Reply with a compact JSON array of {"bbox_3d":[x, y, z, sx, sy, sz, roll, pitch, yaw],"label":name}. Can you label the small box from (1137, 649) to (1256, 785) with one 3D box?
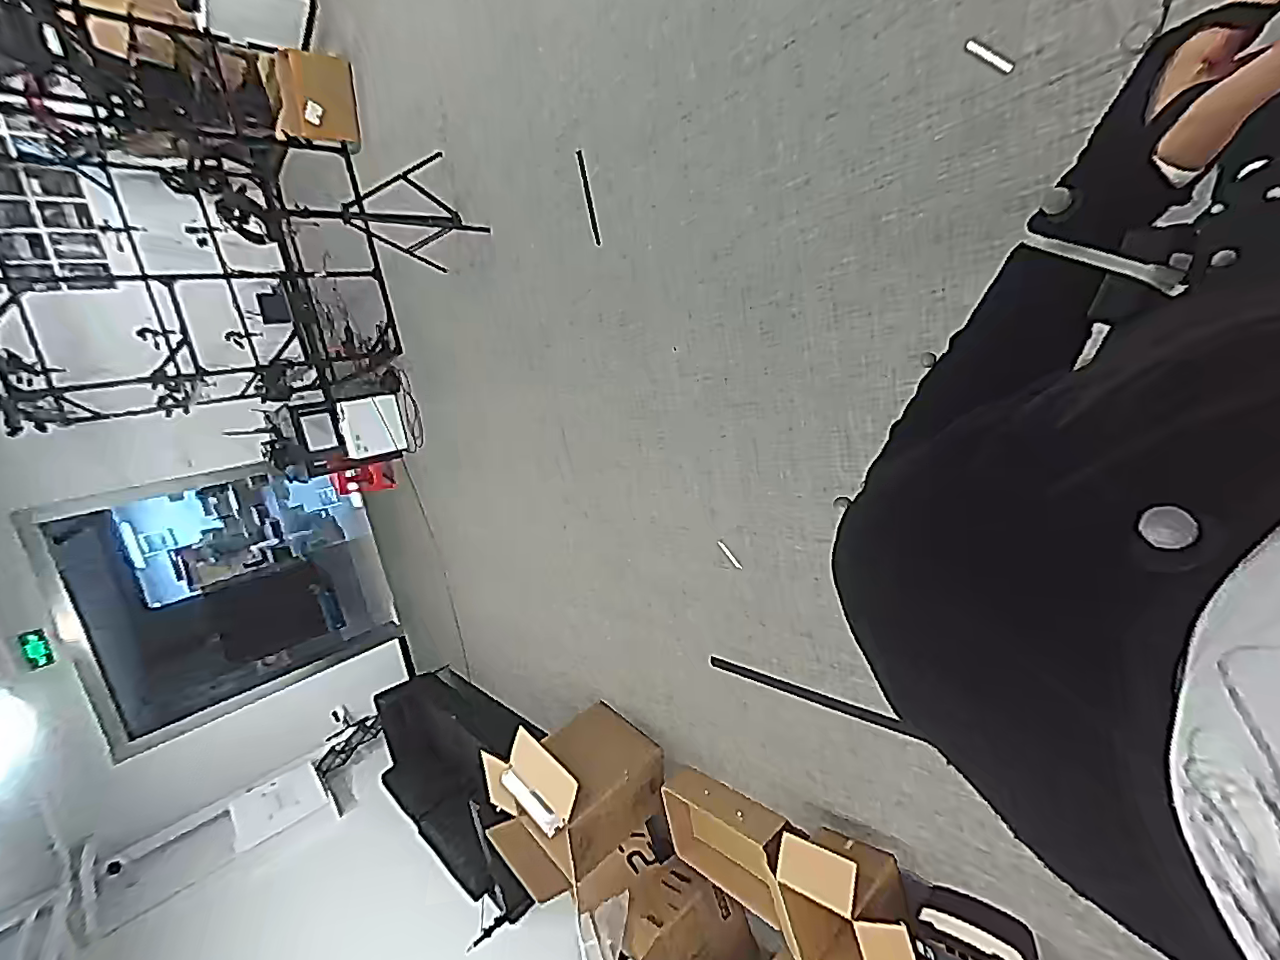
[{"bbox_3d":[1.159,0.480,1.129,0.168,0.176,0.179,1,105,50],"label":"small box"}]
